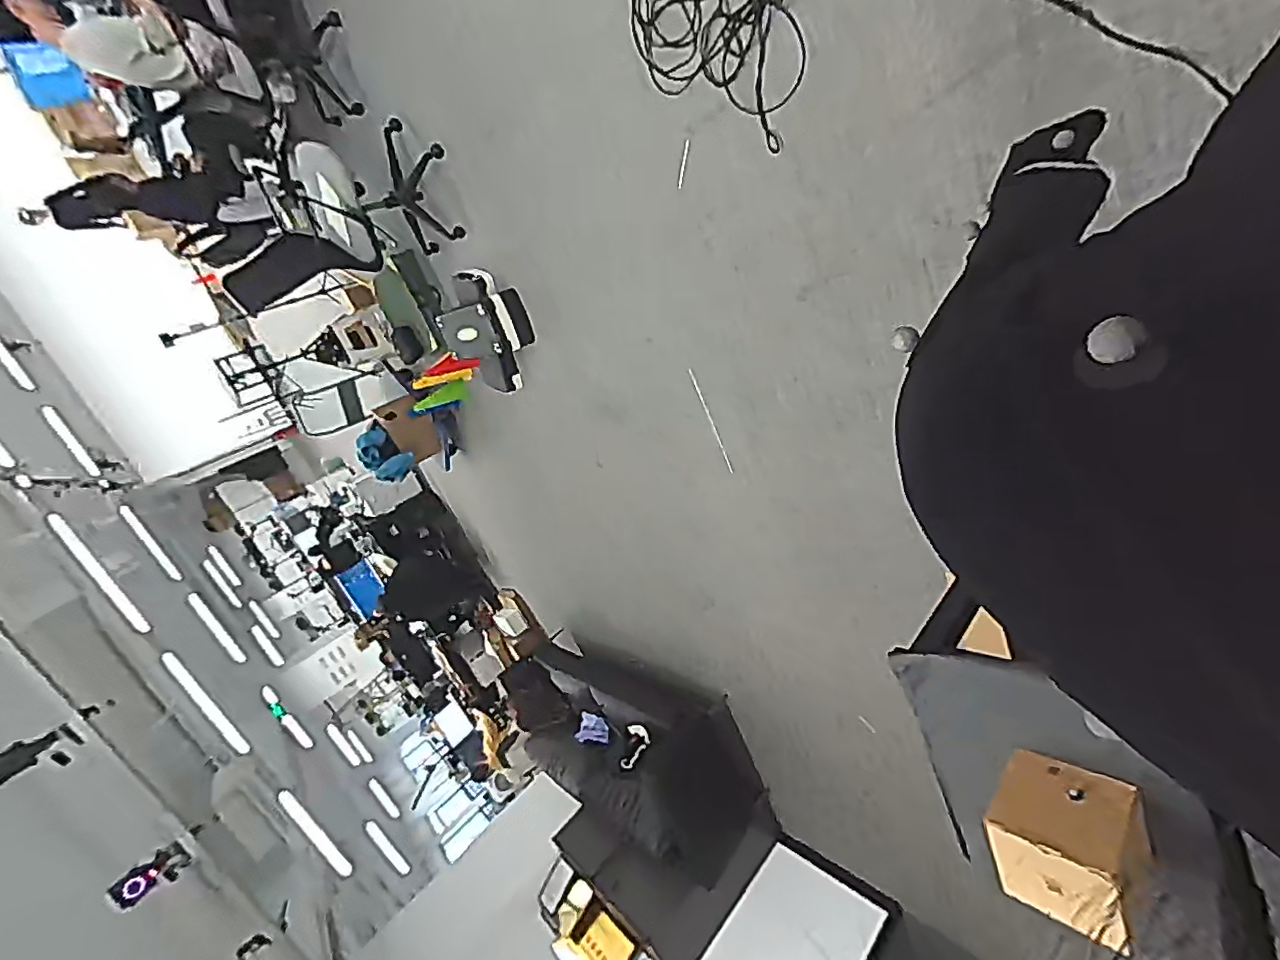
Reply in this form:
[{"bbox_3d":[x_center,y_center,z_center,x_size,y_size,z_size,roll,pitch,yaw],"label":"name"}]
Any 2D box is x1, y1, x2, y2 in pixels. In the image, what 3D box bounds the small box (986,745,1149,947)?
[{"bbox_3d":[0.703,0.583,0.885,0.168,0.176,0.179,-1,118,53],"label":"small box"}]
